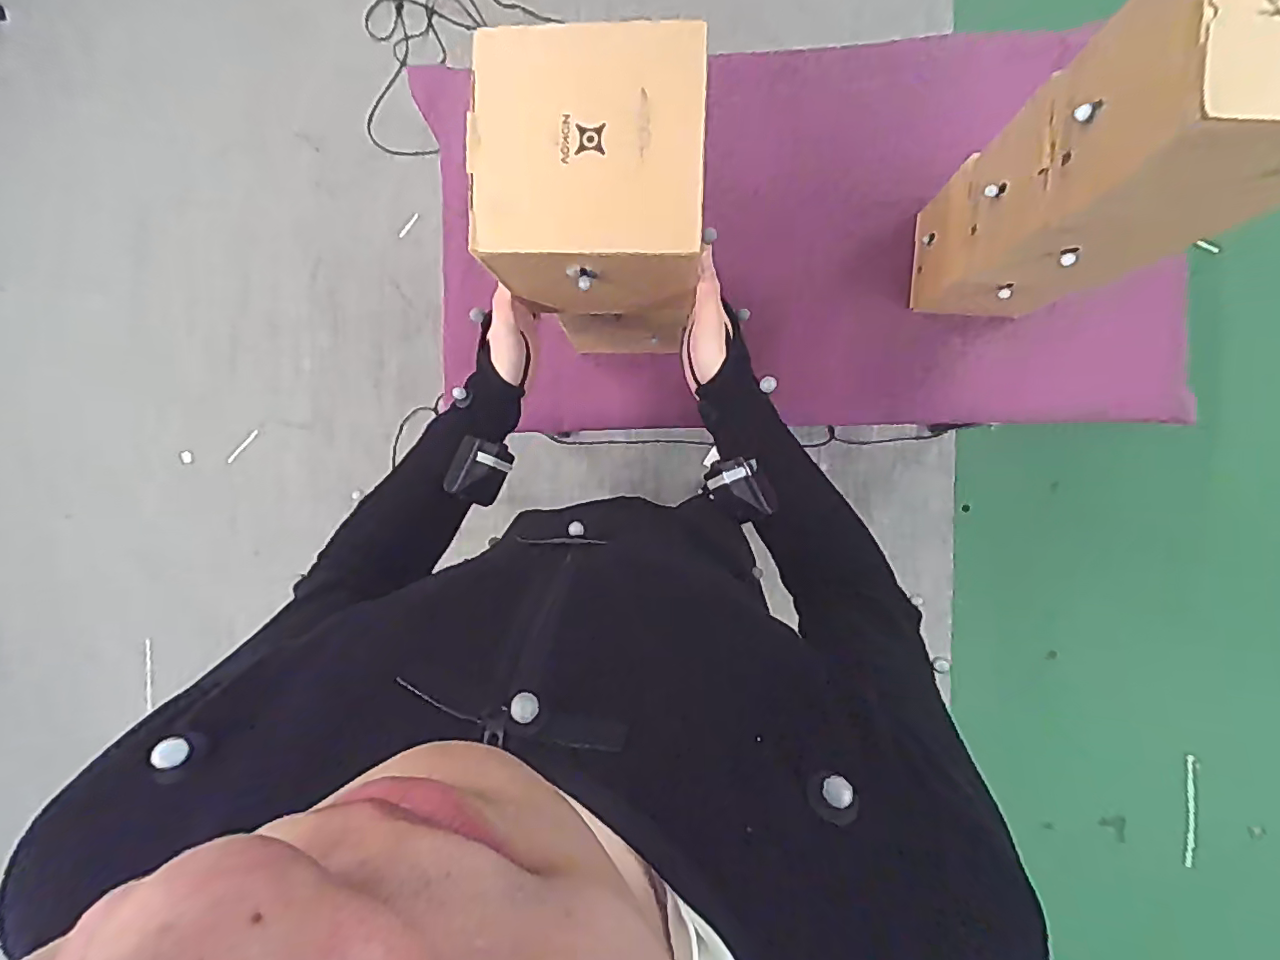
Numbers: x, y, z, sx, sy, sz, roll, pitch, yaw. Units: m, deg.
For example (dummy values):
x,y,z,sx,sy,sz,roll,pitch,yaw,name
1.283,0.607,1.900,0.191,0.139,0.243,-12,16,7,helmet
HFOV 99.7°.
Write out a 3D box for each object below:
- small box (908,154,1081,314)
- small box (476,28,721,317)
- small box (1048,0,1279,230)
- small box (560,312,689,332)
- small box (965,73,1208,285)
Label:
x,y,z,sx,sy,sz,roll,pitch,yaw,name
0.534,-0.358,0.815,0.179,0.176,0.168,4,90,4,small box
-0.026,-0.247,0.474,0.179,0.176,0.168,3,93,4,small box
0.520,-0.344,0.486,0.179,0.176,0.168,4,90,4,small box
-0.020,-0.292,0.677,0.179,0.176,0.168,-3,90,3,small box
0.524,-0.348,0.652,0.179,0.176,0.168,5,91,4,small box
